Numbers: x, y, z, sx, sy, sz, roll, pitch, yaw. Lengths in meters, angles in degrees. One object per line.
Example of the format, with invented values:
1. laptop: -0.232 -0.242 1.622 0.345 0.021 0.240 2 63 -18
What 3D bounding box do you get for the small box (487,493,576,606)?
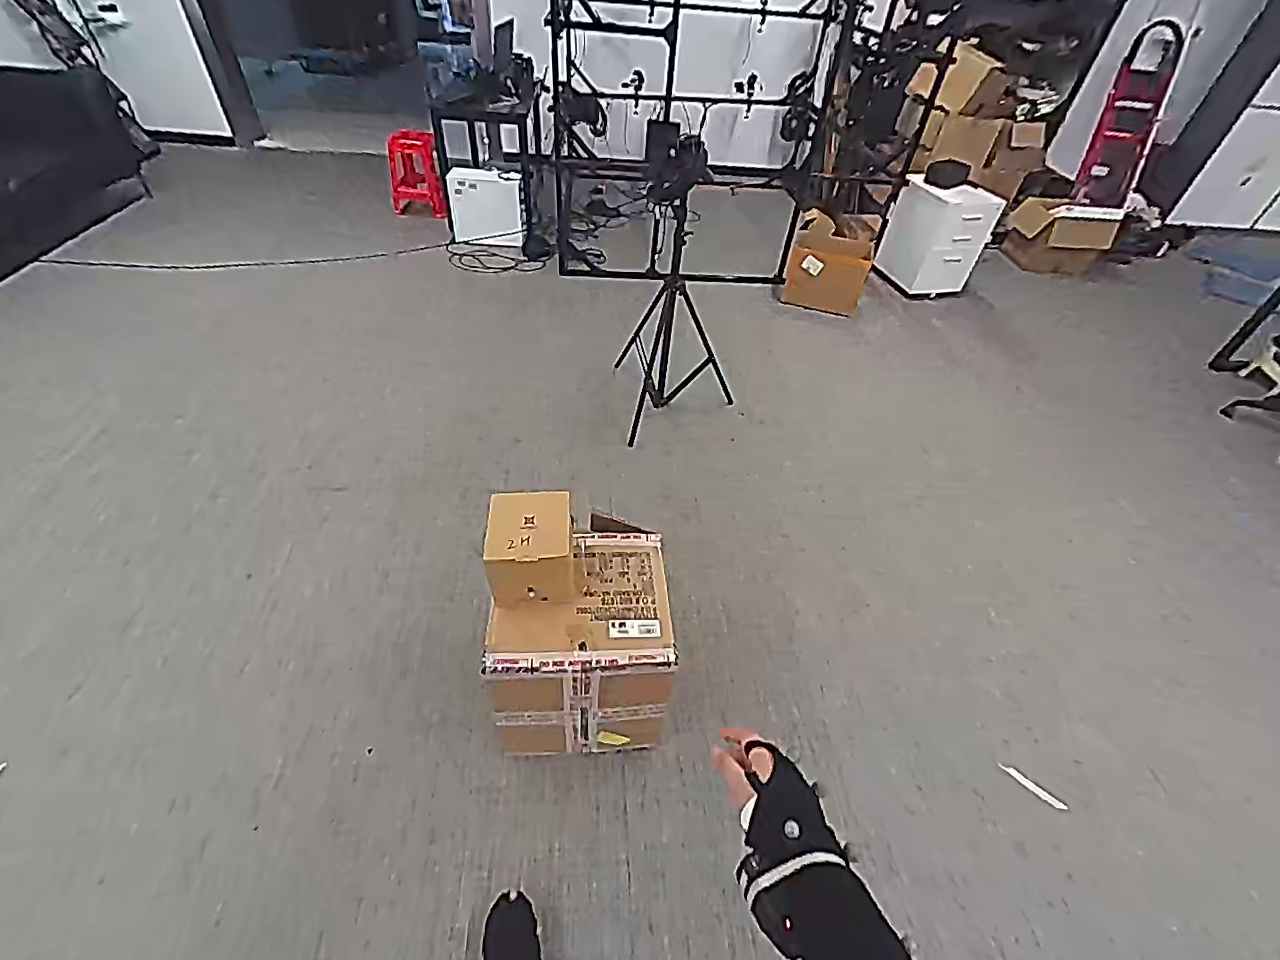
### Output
1. small box: -0.224 0.149 1.155 0.168 0.176 0.179 -3 47 -5
